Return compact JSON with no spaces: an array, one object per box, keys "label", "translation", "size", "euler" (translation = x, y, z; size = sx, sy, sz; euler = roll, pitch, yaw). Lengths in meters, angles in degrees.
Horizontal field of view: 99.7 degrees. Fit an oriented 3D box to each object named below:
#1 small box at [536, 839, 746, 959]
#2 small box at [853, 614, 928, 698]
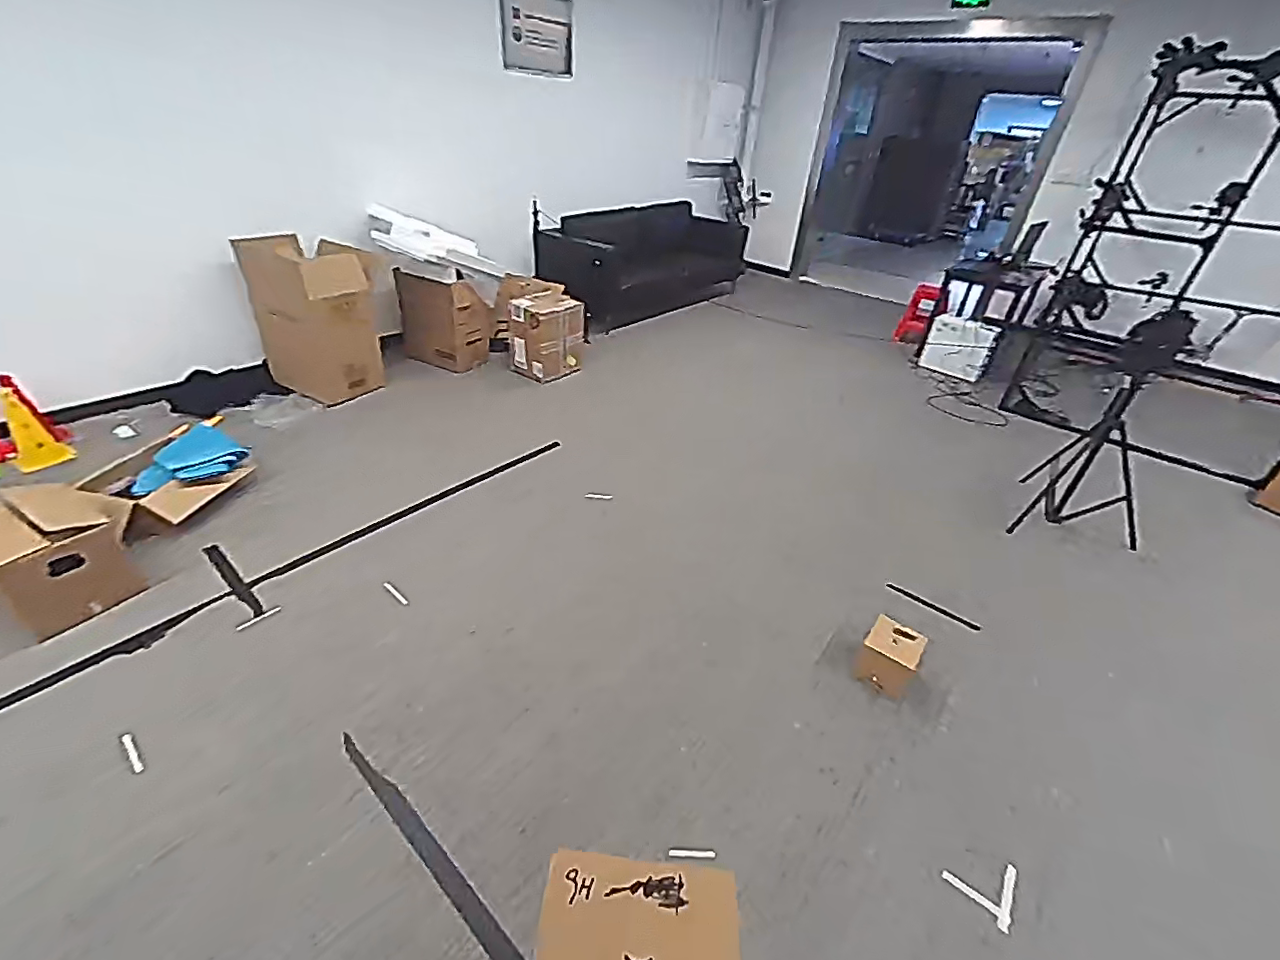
[{"label":"small box","translation":[-0.005,0.440,0.459],"size":[0.168,0.176,0.179],"euler":[7,40,0]},{"label":"small box","translation":[0.858,0.604,1.862],"size":[0.168,0.176,0.179],"euler":[26,40,29]}]
